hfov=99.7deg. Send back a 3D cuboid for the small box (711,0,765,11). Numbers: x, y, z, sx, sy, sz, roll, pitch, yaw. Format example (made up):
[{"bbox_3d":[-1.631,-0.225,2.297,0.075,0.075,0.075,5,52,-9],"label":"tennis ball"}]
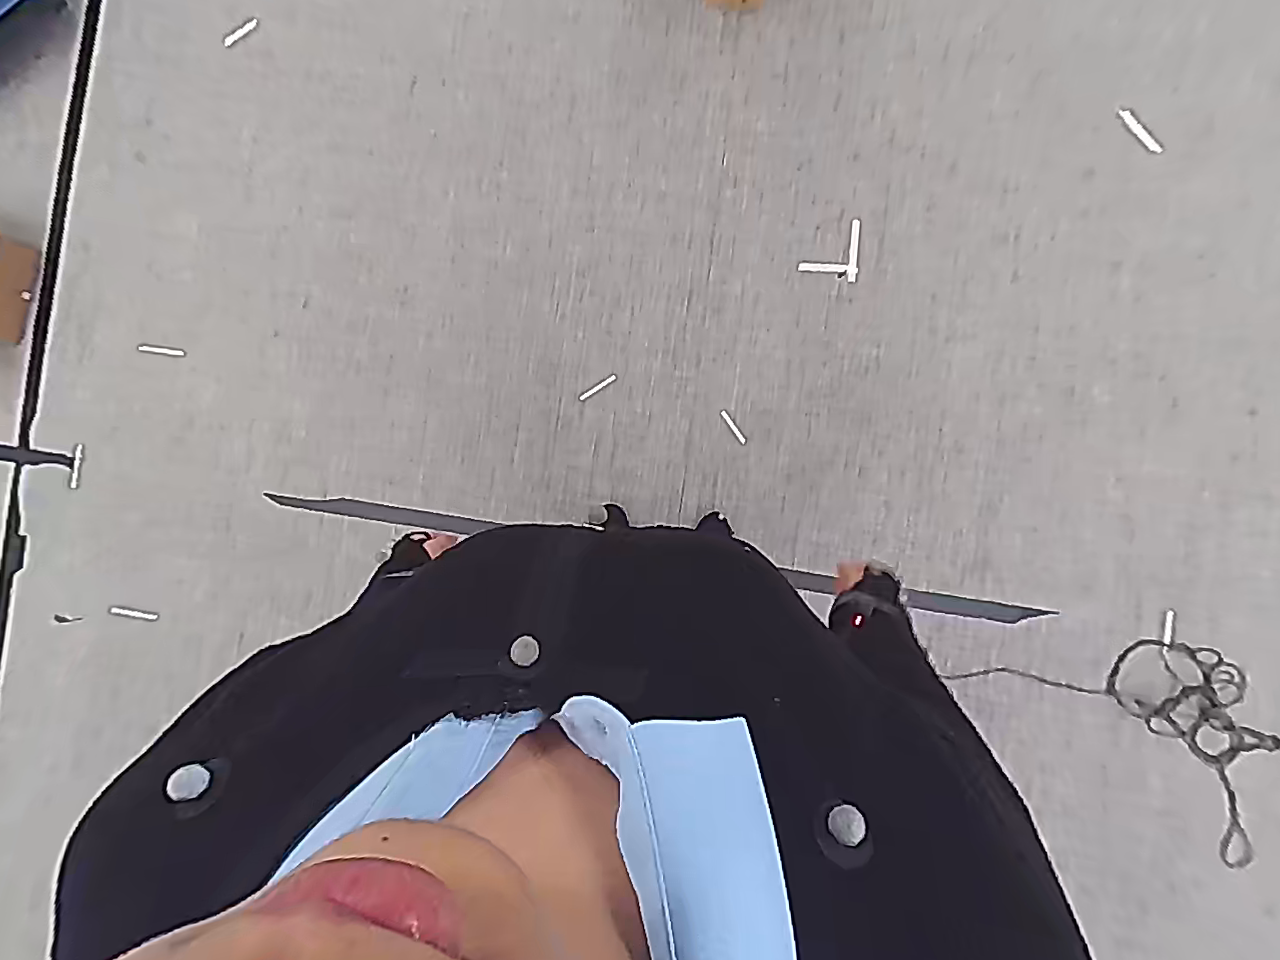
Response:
[{"bbox_3d":[0.277,-1.425,1.460,0.168,0.176,0.179,10,88,5],"label":"small box"}]
